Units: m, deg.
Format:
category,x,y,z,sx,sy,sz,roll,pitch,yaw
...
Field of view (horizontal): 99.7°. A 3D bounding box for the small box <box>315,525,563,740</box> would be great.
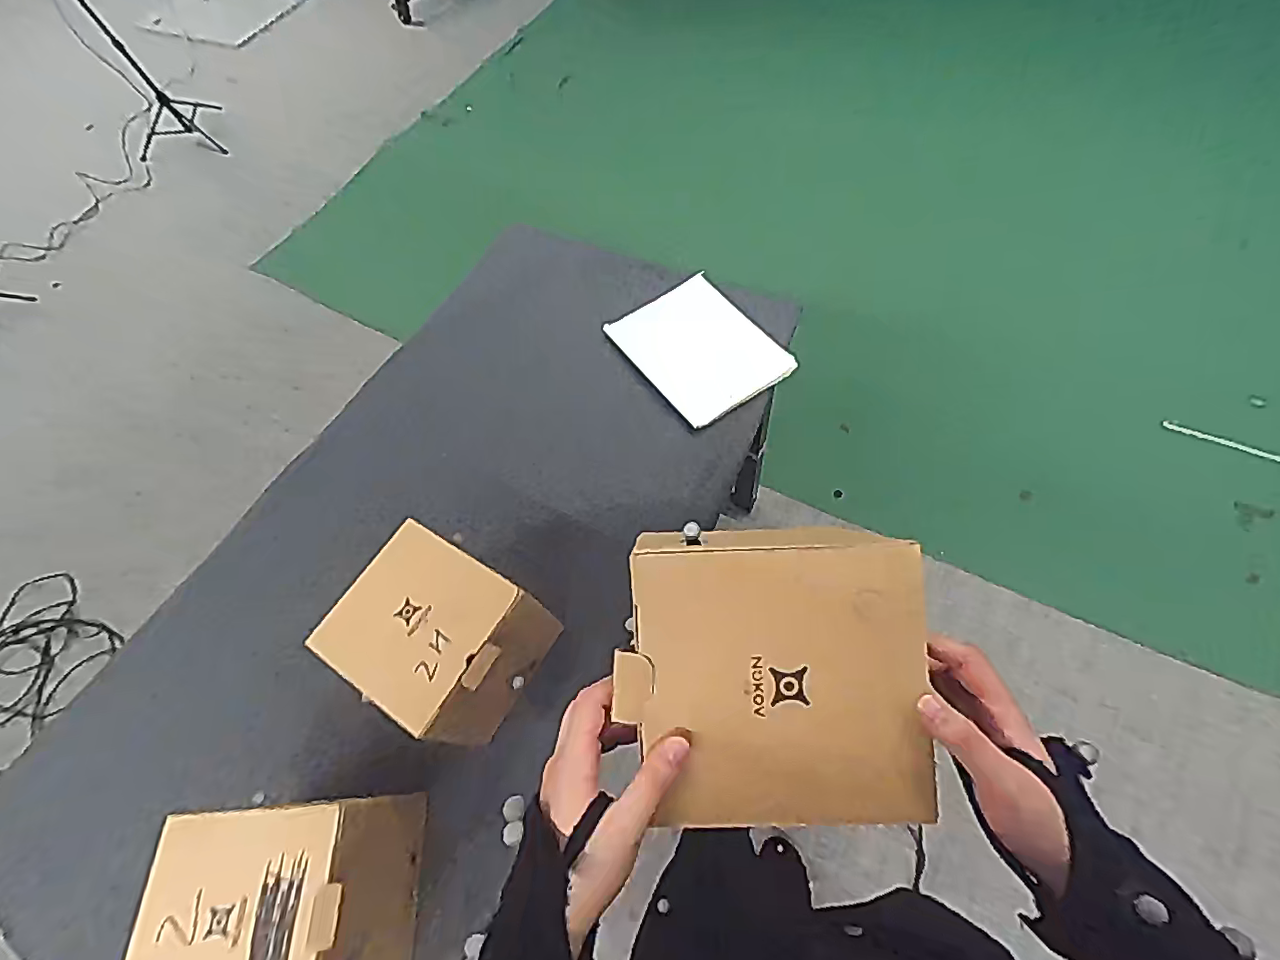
category,x,y,z,sx,sy,sz,roll,pitch,yaw
small box,-0.219,0.186,0.634,0.179,0.176,0.168,26,70,20
